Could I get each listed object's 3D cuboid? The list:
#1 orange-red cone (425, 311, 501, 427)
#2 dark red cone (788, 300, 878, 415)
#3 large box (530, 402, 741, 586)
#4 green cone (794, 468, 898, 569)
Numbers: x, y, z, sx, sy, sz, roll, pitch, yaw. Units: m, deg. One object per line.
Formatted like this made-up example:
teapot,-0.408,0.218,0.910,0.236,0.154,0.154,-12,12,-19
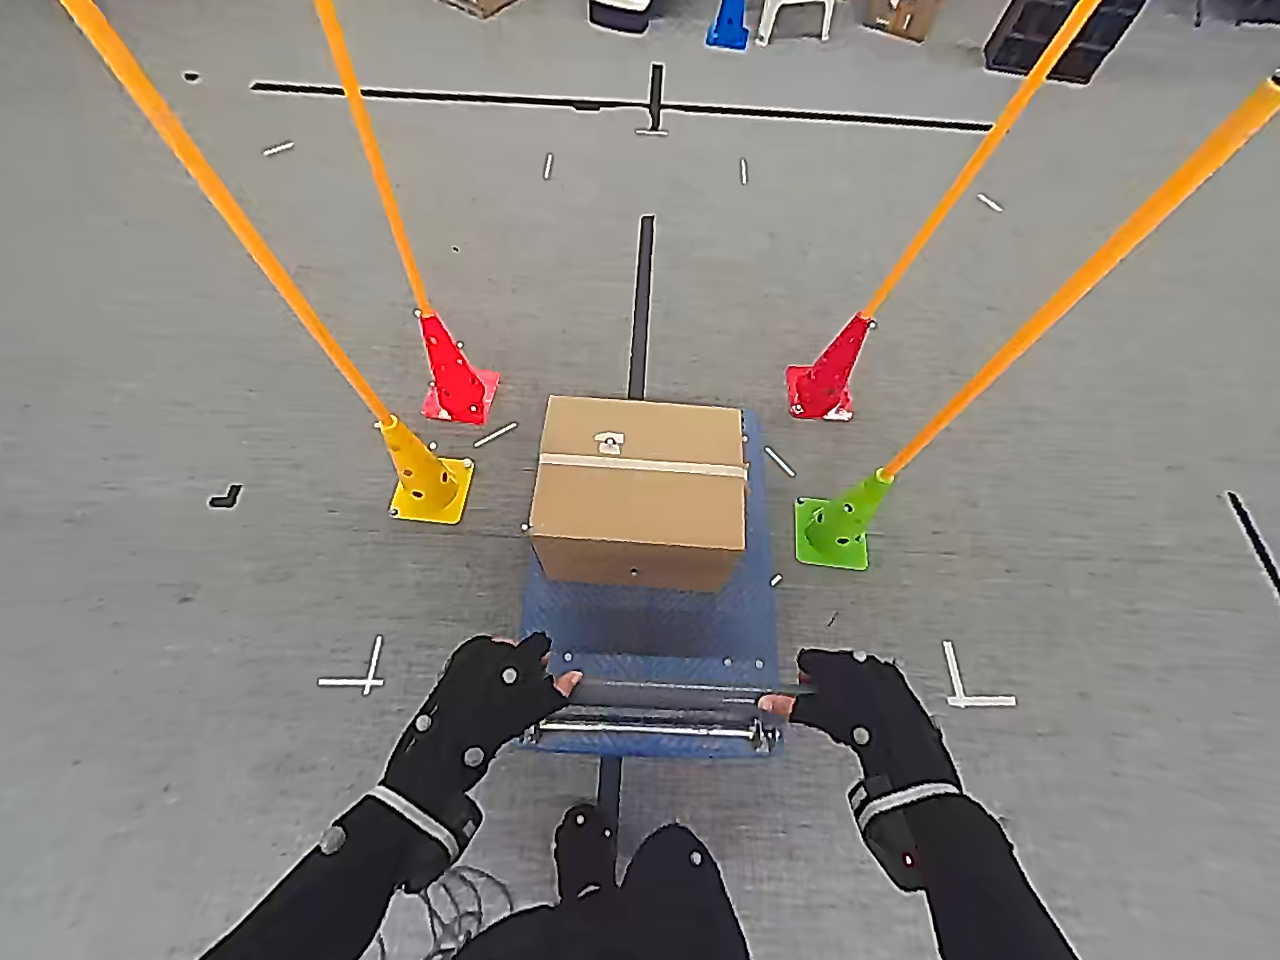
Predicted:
orange-red cone,-0.544,-0.341,1.542,0.198,0.360,0.199,10,62,2
dark red cone,0.589,-0.368,1.579,0.201,0.394,0.202,4,64,-3
large box,-0.002,0.045,1.208,0.408,0.320,0.320,4,64,1
green cone,0.547,0.072,1.378,0.202,0.368,0.200,7,63,0
